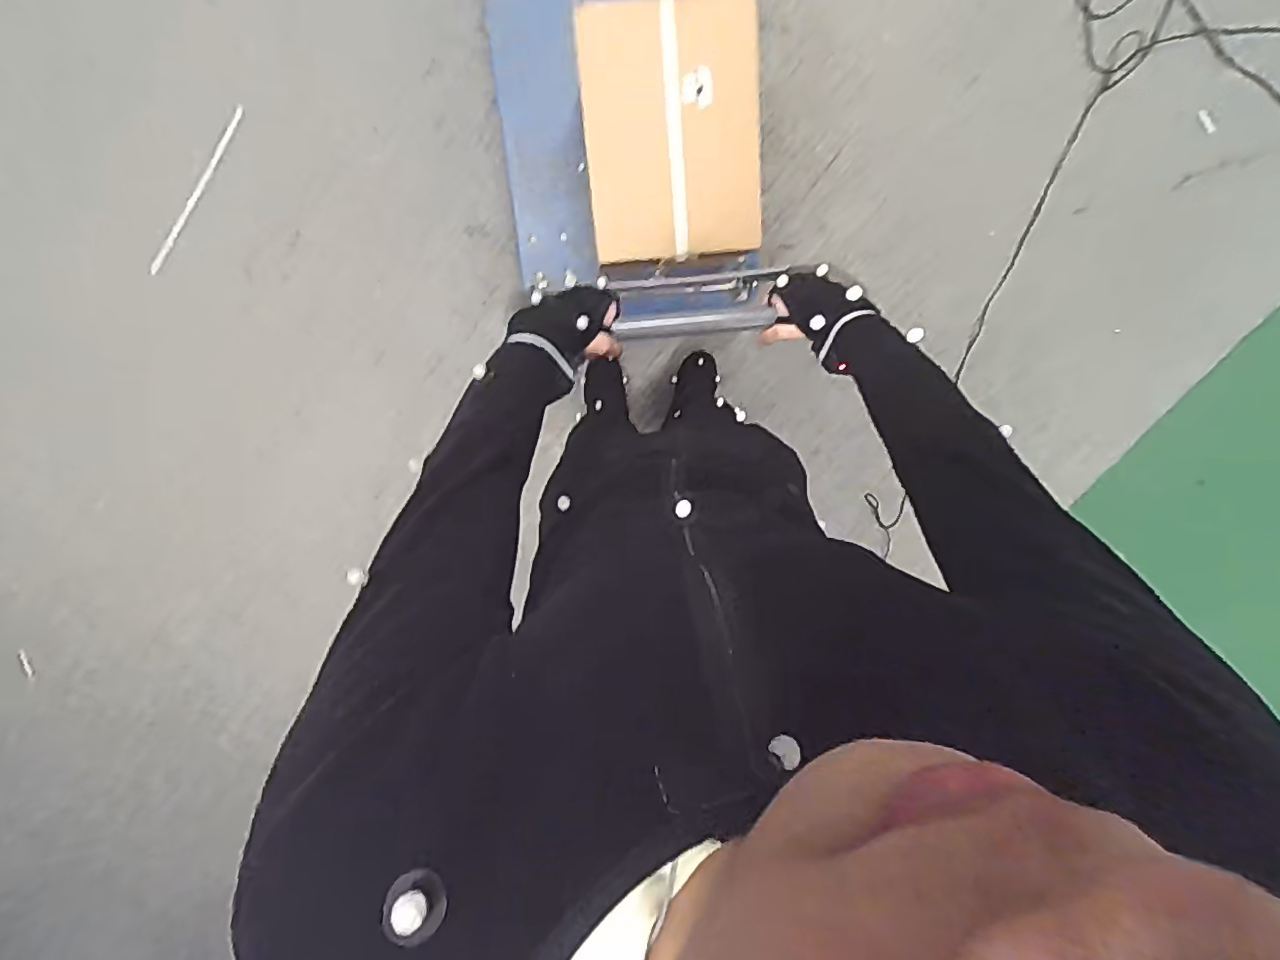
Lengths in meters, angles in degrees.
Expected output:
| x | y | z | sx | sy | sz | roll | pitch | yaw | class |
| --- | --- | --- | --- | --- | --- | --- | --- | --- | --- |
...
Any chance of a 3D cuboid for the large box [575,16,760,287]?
| x | y | z | sx | sy | sz | roll | pitch | yaw | class |
| --- | --- | --- | --- | --- | --- | --- | --- | --- | --- |
| 0.051 | -0.643 | 1.136 | 0.320 | 0.320 | 0.408 | -6 | 105 | -3 | large box |
